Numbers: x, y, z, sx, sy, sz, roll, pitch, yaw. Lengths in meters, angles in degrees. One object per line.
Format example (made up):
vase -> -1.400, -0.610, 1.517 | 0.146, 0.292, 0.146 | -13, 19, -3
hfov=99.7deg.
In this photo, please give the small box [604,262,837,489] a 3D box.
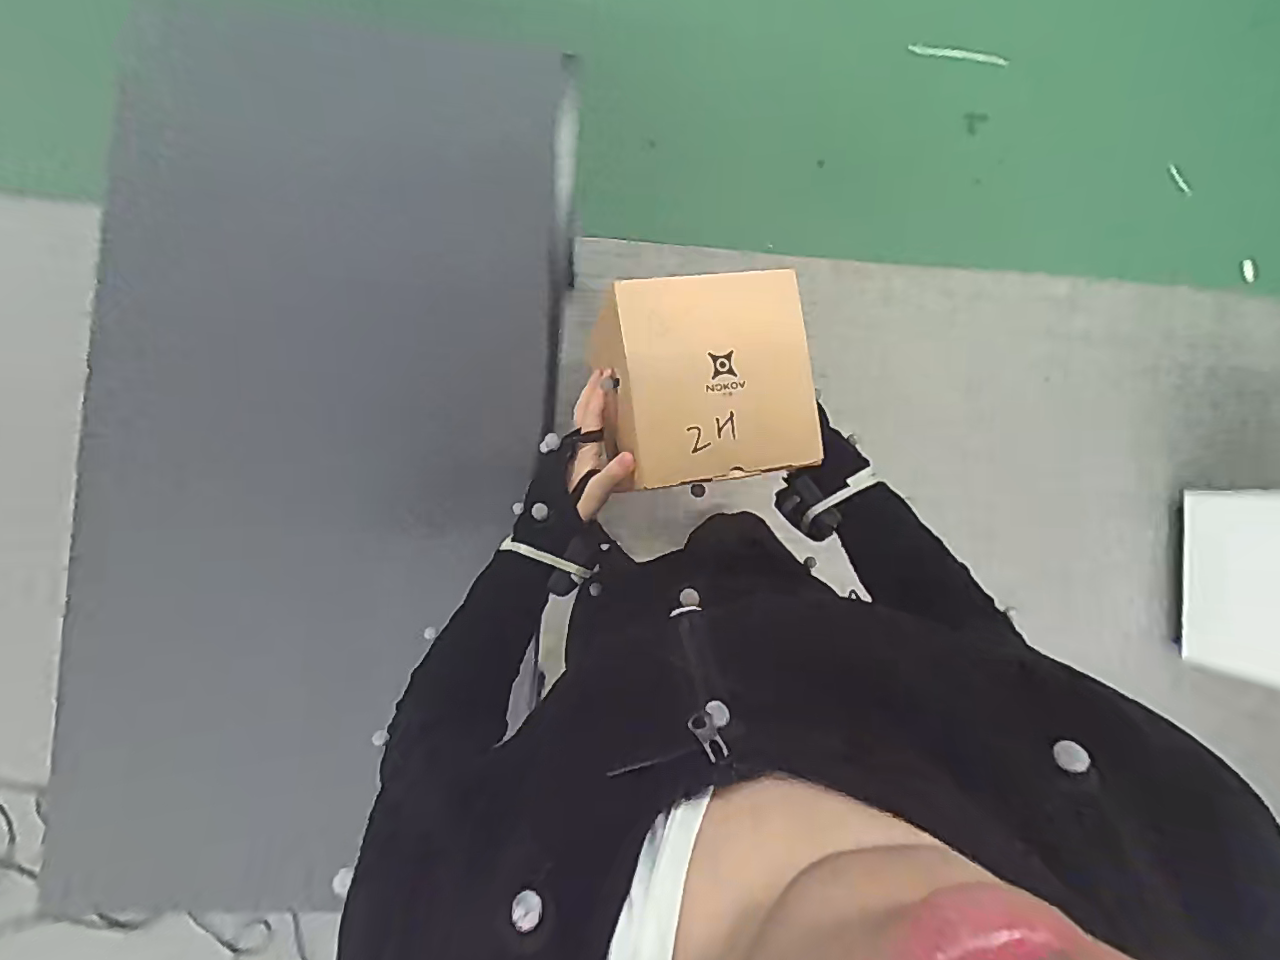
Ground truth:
small box -> 0.063, -0.089, 0.529 | 0.168, 0.176, 0.179 | -8, 89, -11
